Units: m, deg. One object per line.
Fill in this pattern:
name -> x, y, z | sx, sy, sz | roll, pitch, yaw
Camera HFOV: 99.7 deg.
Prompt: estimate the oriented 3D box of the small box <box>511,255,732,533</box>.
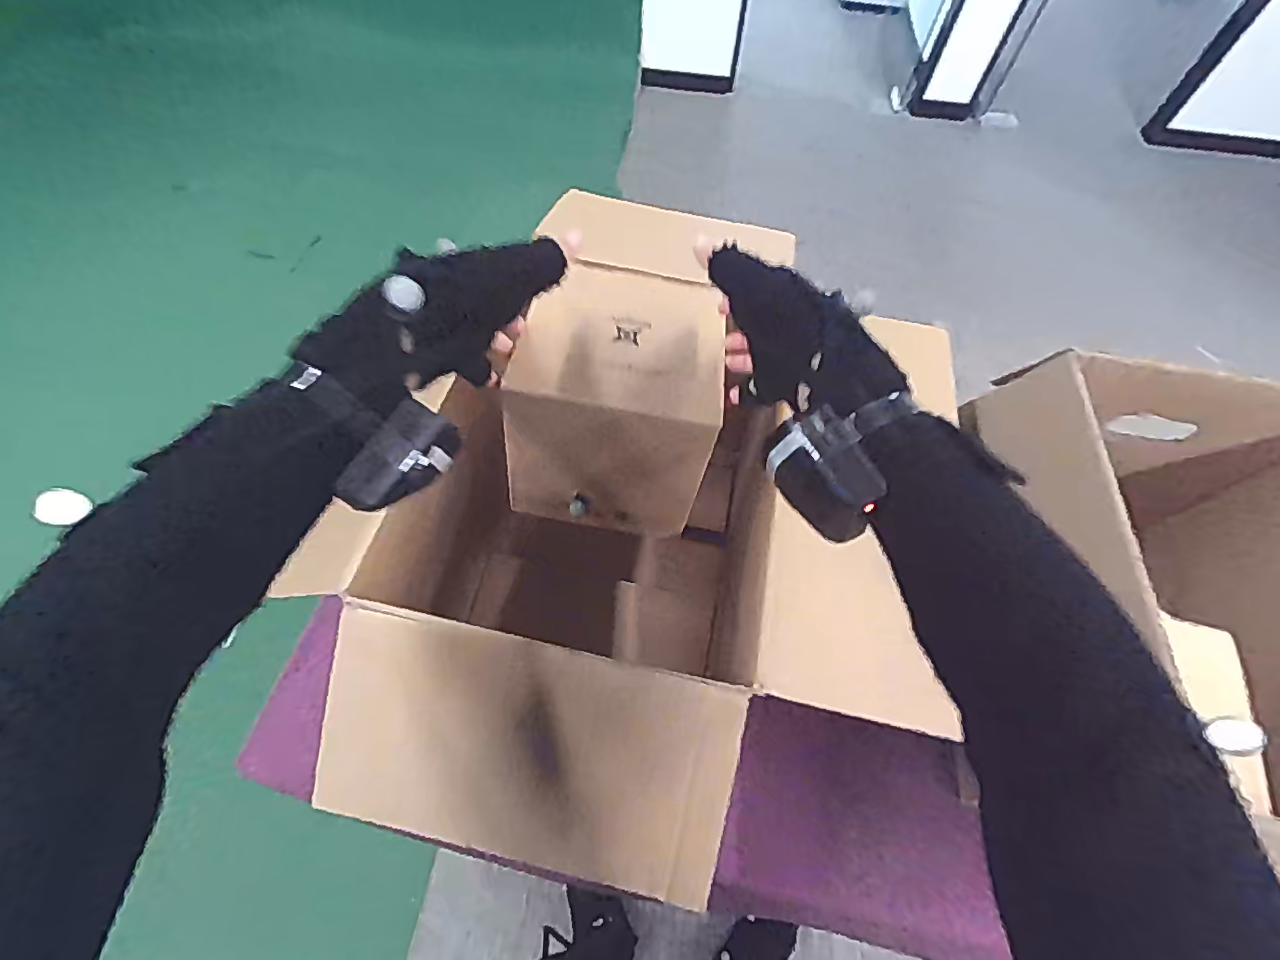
small box -> -0.015, -0.076, 0.508 | 0.168, 0.176, 0.179 | 10, 52, -1
